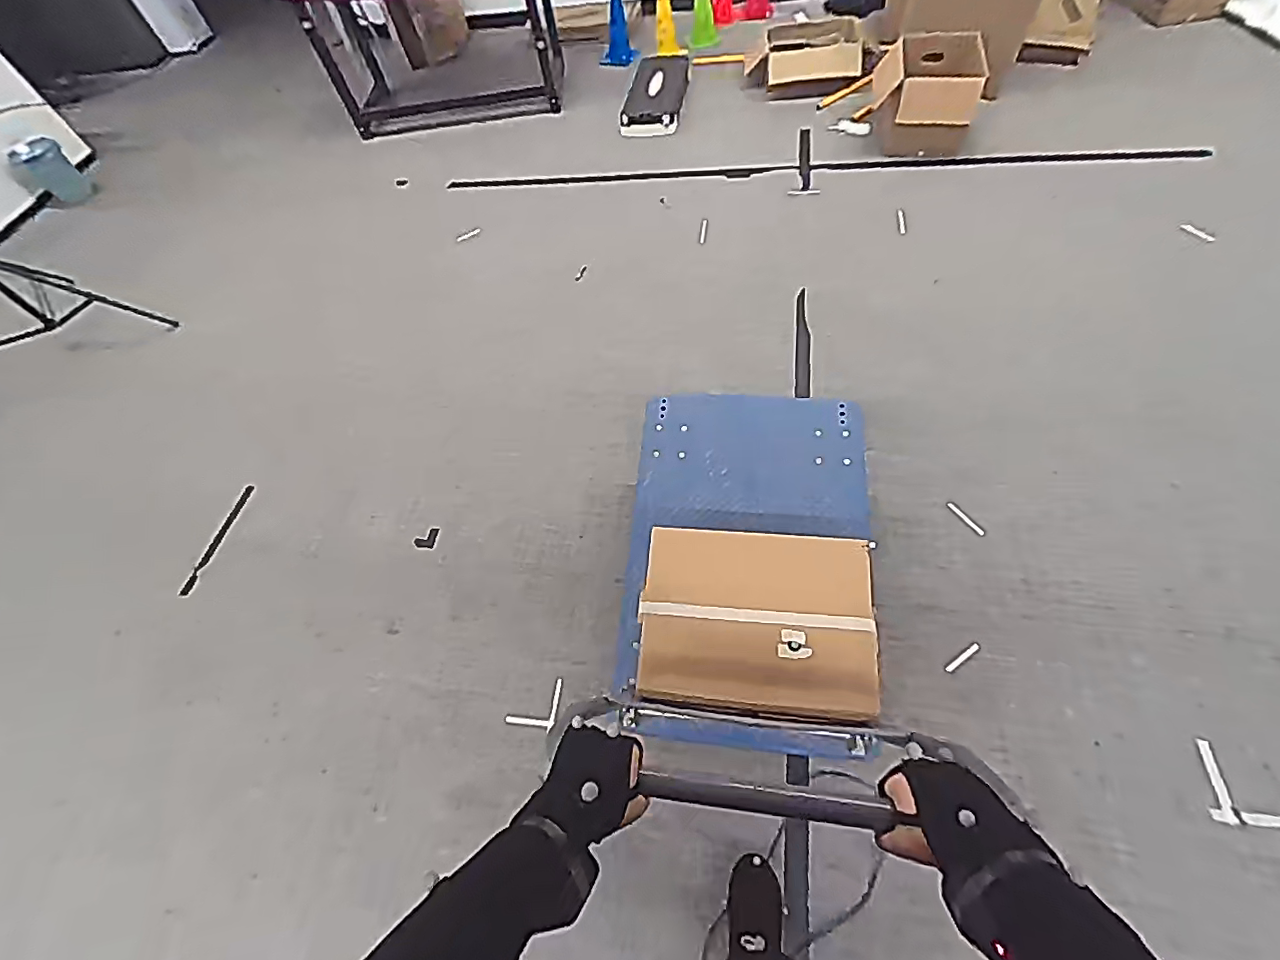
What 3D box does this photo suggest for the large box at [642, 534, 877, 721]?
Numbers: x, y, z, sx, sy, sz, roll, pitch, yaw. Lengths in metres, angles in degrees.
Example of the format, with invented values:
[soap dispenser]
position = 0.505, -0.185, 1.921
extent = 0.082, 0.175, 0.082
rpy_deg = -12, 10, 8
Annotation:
[large box]
position = 0.224, 0.312, 1.115
extent = 0.408, 0.320, 0.320
rpy_deg = 2, 67, 8
